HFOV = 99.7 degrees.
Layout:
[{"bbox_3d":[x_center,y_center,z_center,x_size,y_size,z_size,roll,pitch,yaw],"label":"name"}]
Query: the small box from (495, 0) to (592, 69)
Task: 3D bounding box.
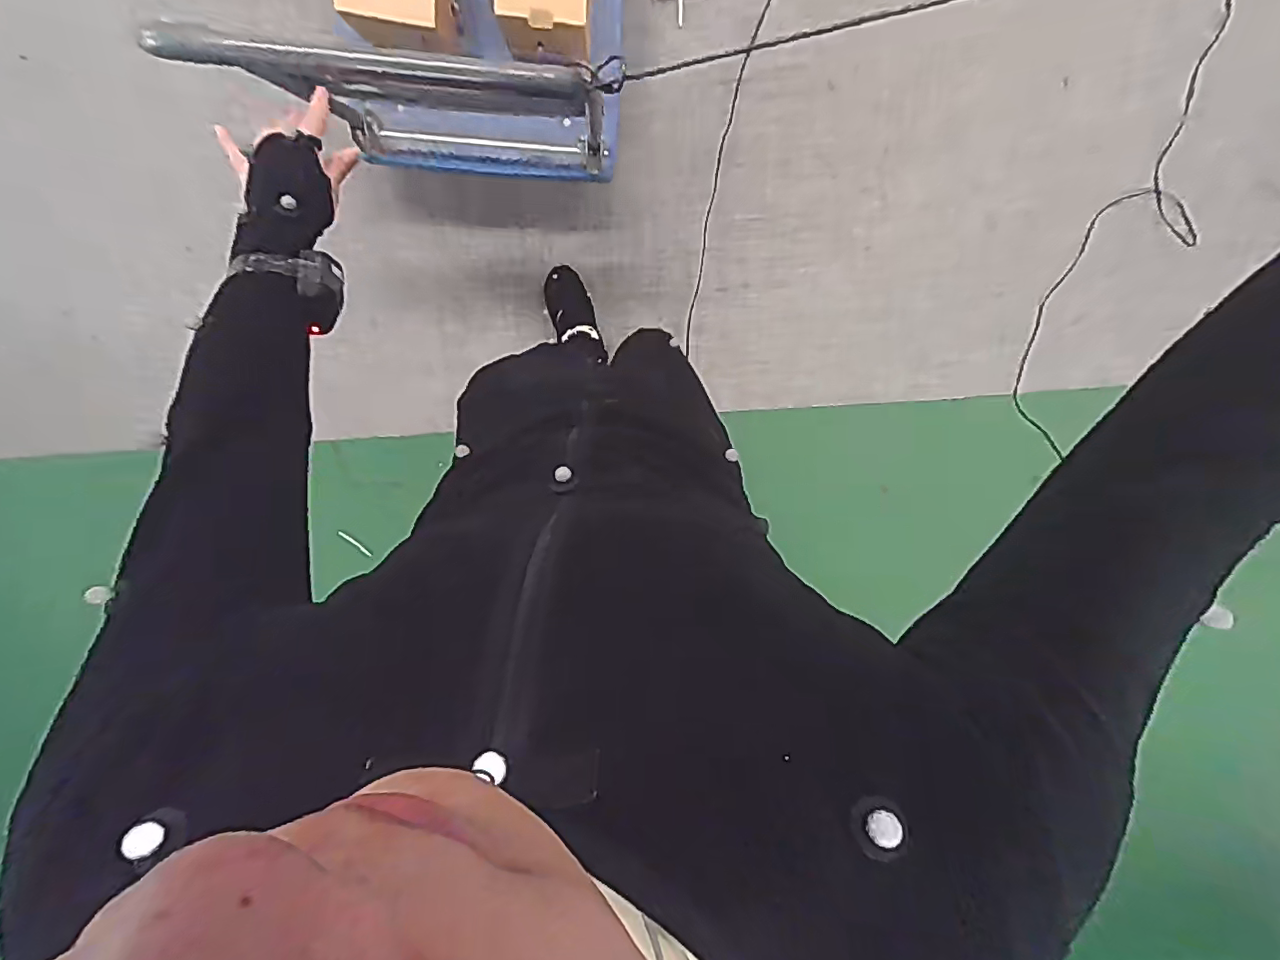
[{"bbox_3d":[-0.178,-0.920,1.024,0.168,0.176,0.179,4,111,-5],"label":"small box"}]
